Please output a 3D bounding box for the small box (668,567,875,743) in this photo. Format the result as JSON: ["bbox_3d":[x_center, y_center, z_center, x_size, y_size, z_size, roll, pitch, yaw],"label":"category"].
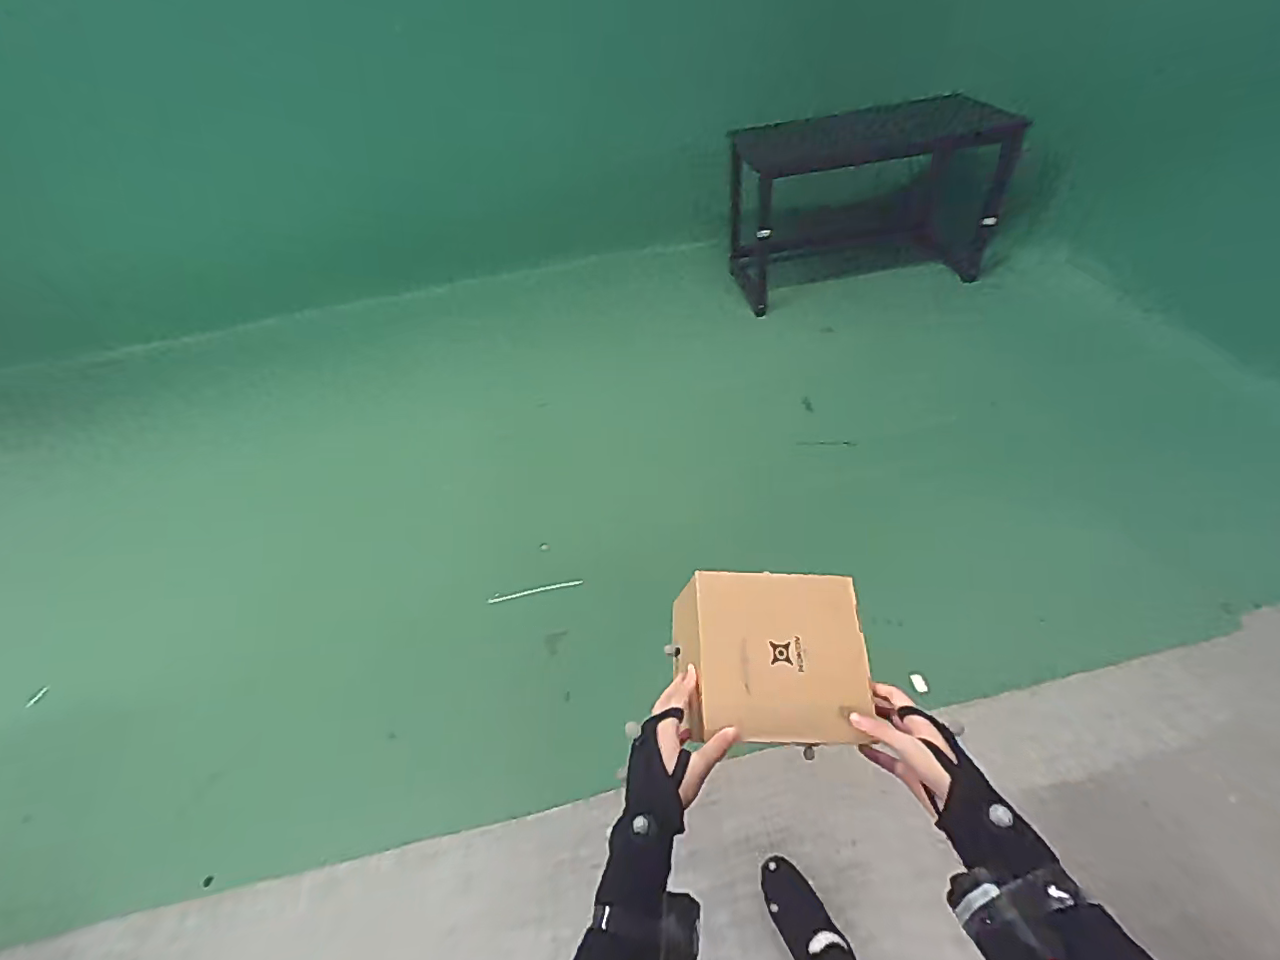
[{"bbox_3d":[0.132,0.205,0.614,0.179,0.176,0.168,3,63,-5],"label":"small box"}]
